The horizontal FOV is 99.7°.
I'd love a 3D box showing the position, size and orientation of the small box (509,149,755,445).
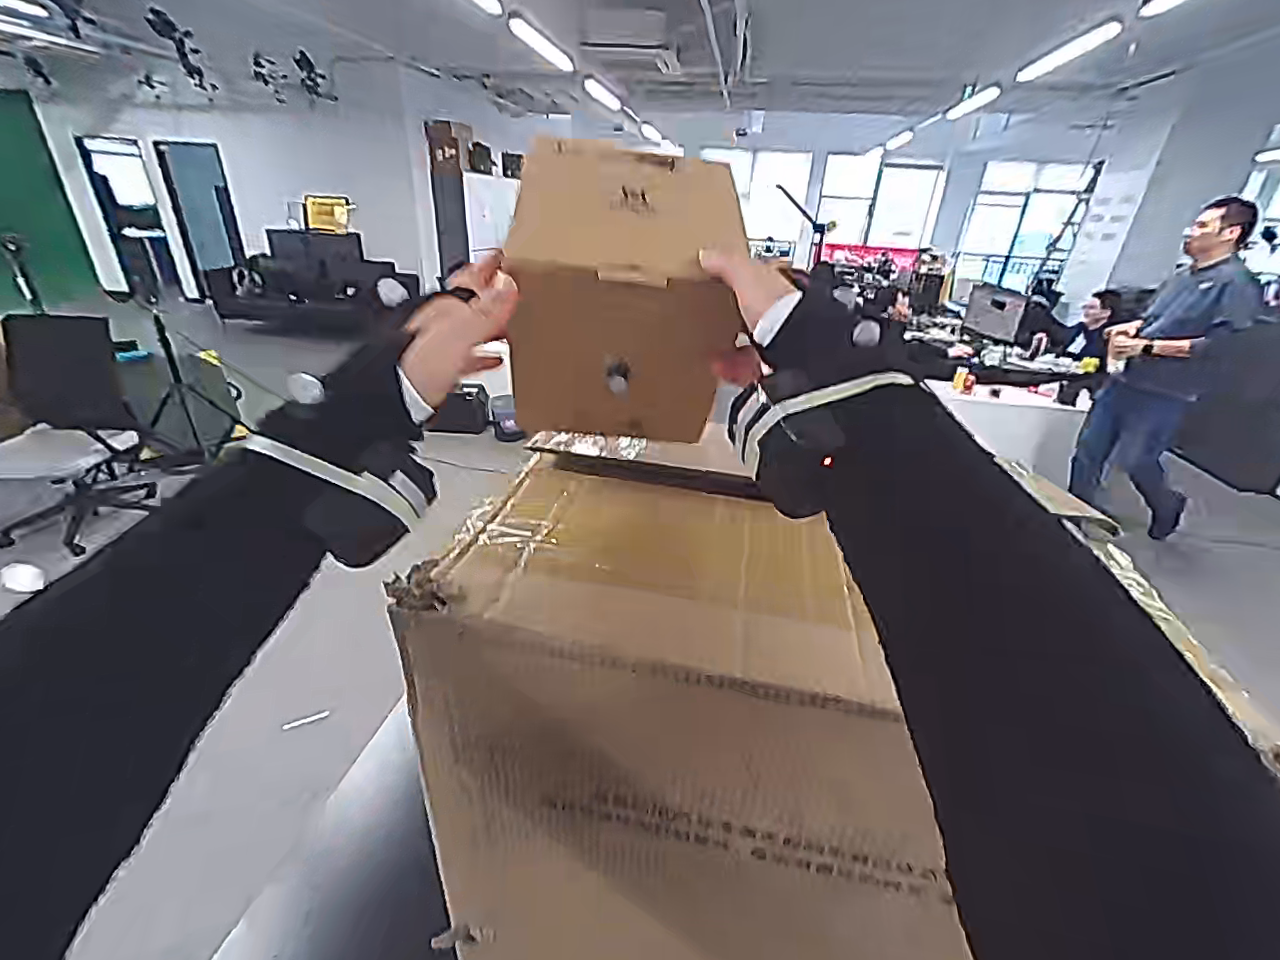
[{"bbox_3d":[-0.011,-0.148,0.463,0.168,0.176,0.179,4,54,-5],"label":"small box"}]
